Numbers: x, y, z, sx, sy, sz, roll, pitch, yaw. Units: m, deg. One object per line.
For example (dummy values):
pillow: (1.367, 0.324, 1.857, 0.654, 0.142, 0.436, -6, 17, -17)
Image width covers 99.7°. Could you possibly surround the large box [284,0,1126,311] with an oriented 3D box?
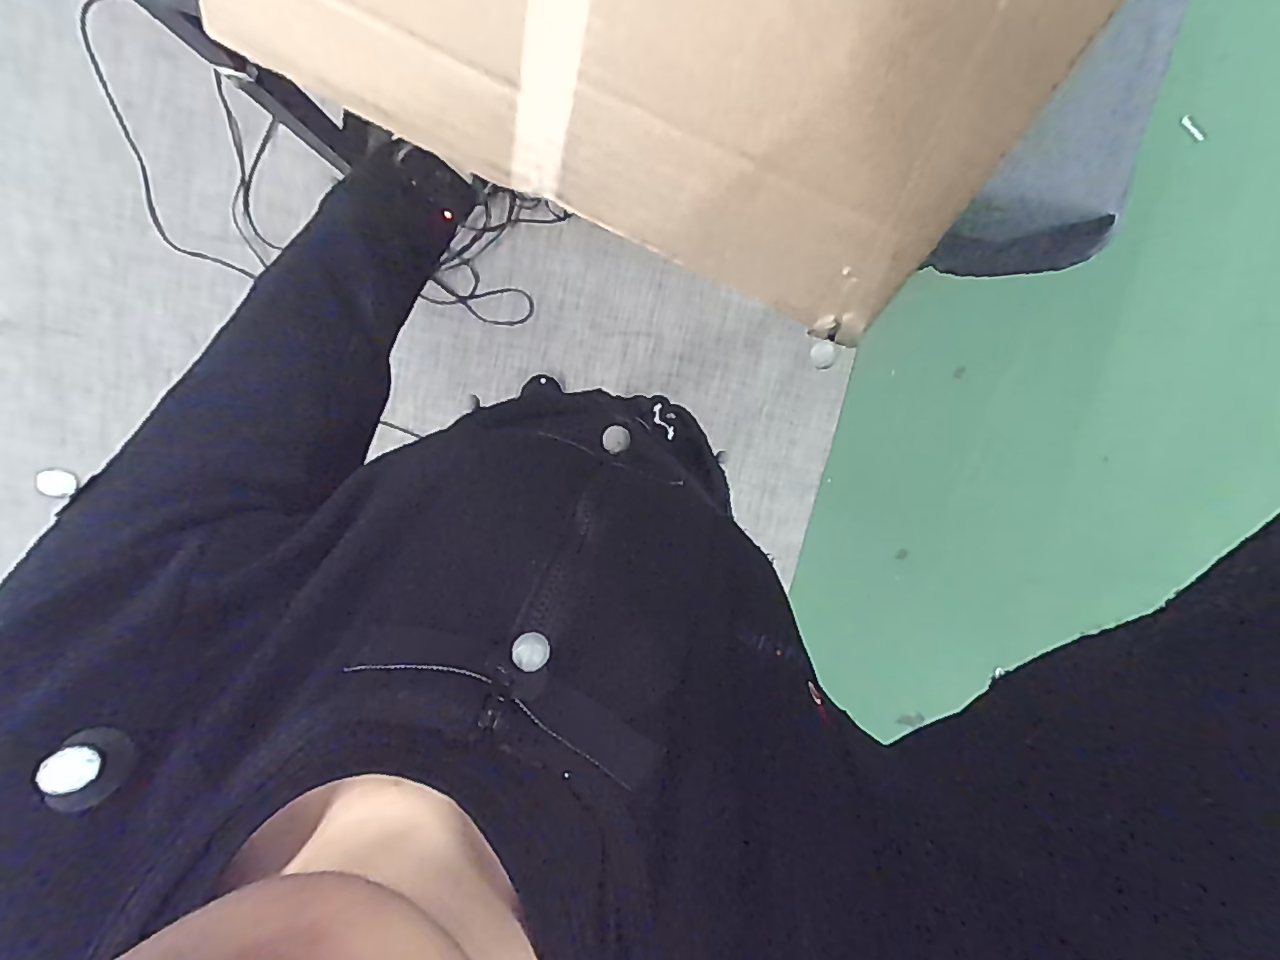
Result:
large box: (0.073, -0.361, 0.202, 0.320, 0.320, 0.408, 24, 140, -1)
